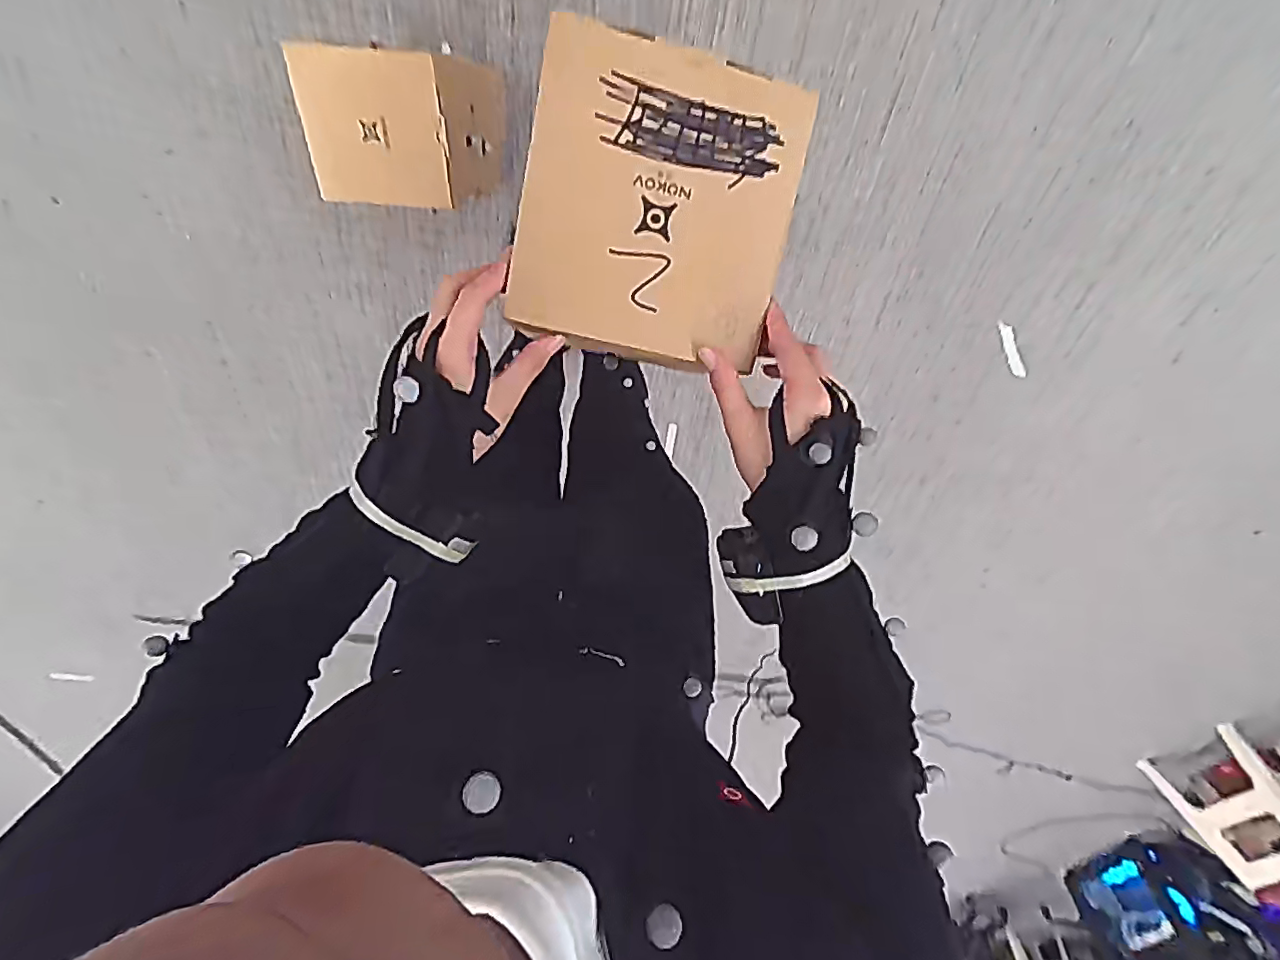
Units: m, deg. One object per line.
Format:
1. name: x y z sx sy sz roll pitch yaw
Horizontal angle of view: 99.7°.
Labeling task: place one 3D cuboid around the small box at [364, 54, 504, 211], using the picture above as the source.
1. small box: -0.320 -0.559 0.873 0.168 0.176 0.179 9 126 -6

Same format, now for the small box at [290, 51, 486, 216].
1. small box: -0.324 -0.469 0.737 0.179 0.176 0.168 3 126 -2
